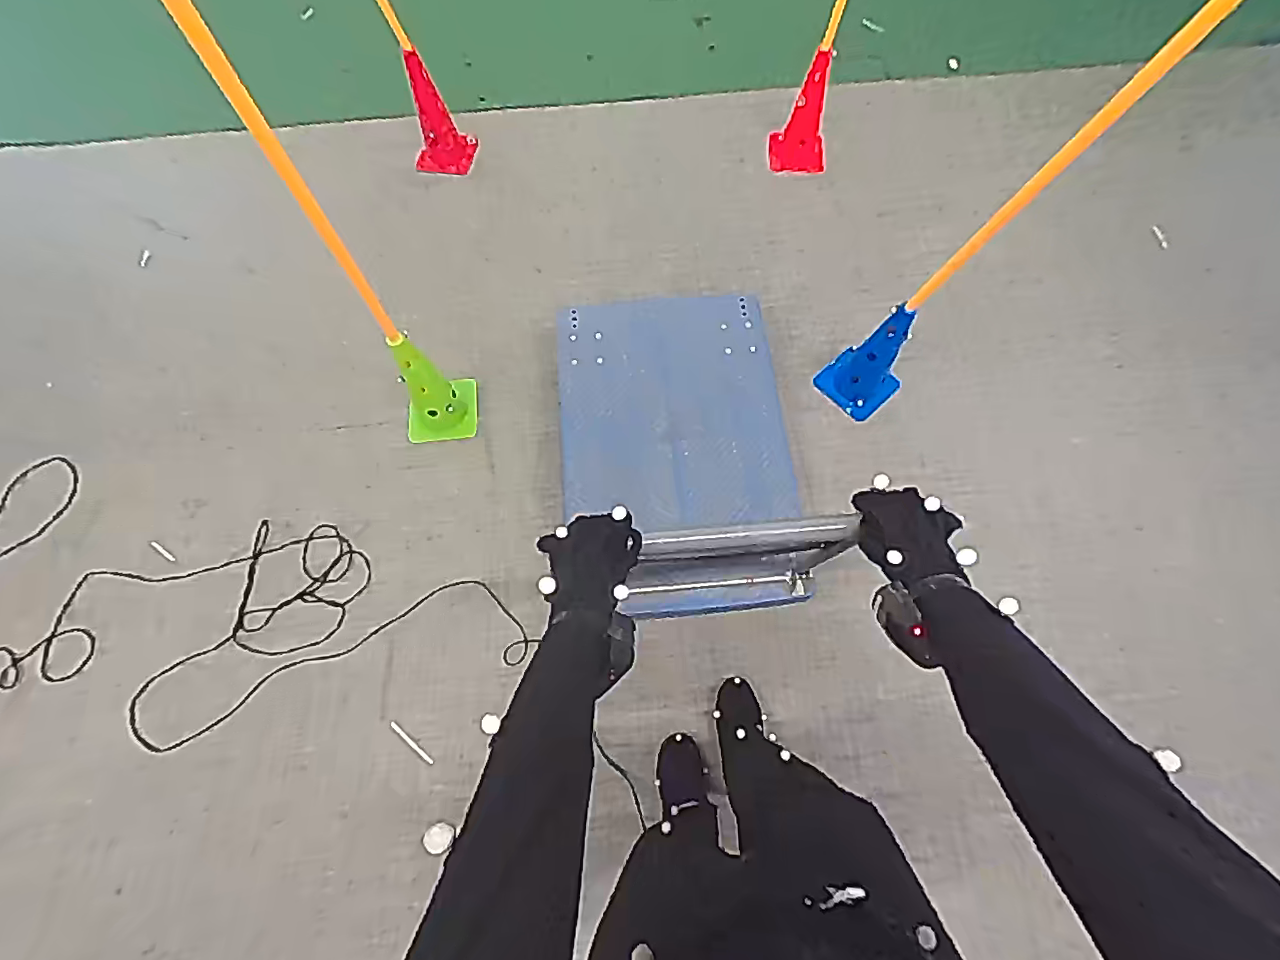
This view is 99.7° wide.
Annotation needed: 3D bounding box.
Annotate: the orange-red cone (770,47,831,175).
[{"bbox_3d":[0.576,-1.258,1.830,0.198,0.360,0.199,5,70,4],"label":"orange-red cone"}]
